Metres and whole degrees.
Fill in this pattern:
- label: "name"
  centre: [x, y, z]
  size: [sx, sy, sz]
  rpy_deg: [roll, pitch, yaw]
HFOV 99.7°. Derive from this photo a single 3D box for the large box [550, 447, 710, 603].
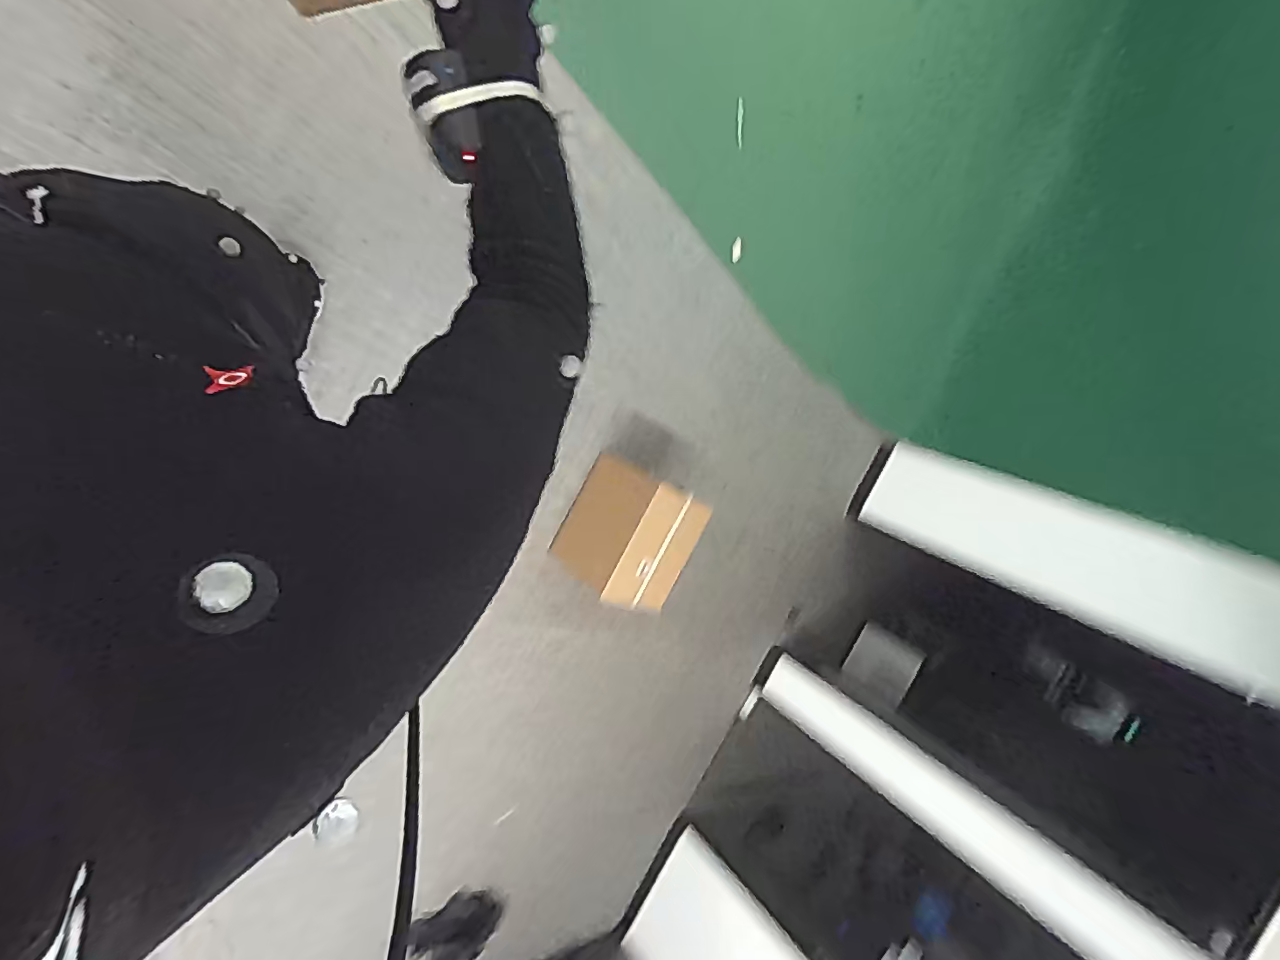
- label: "large box"
  centre: [-0.036, 0.154, 1.843]
  size: [0.320, 0.320, 0.408]
  rpy_deg: [25, 95, -47]
